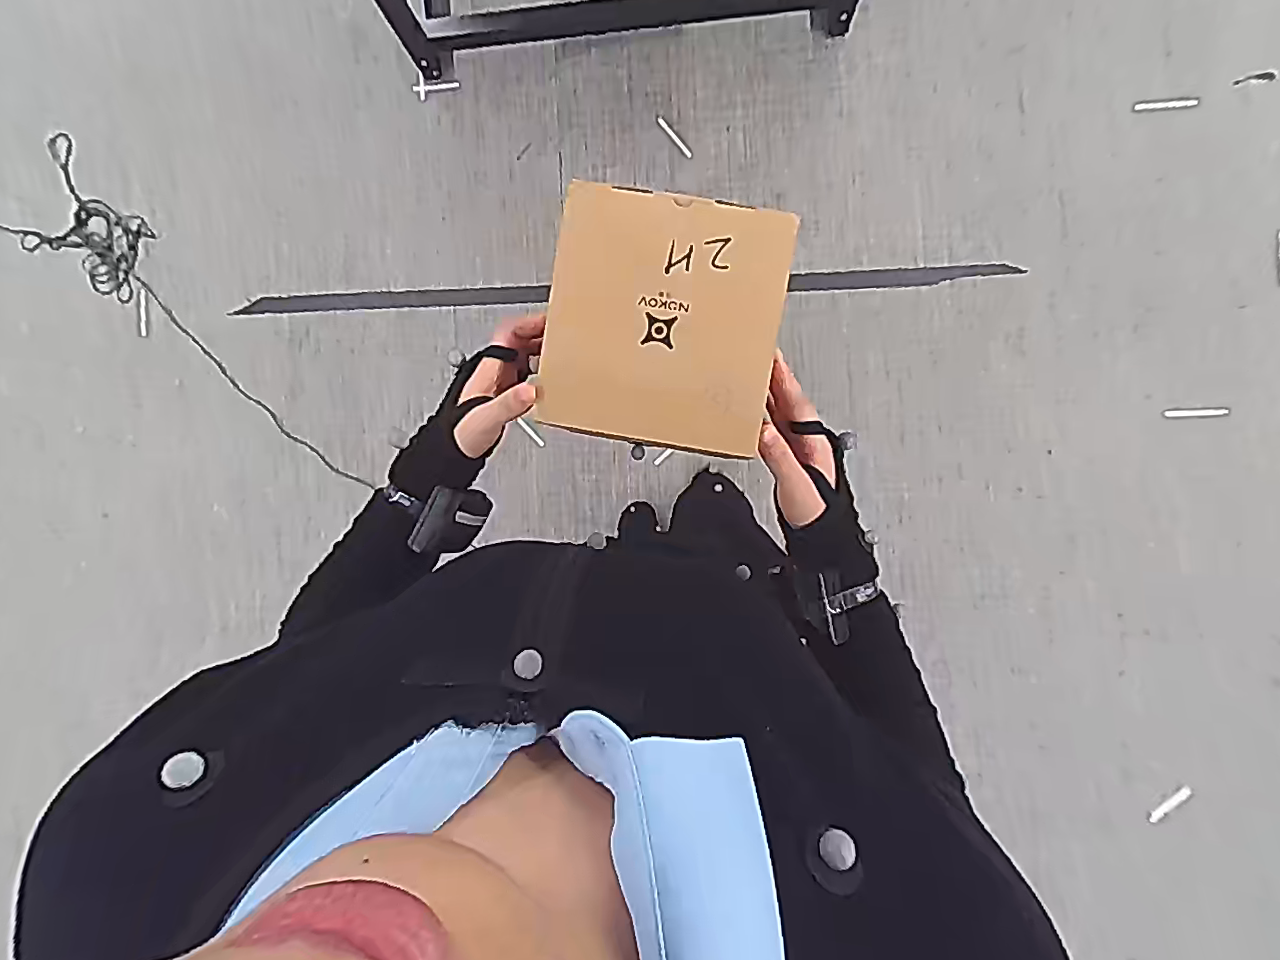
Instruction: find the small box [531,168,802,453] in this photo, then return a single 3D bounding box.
[{"bbox_3d":[0.020,-0.120,0.456,0.168,0.176,0.179,10,92,1],"label":"small box"}]
